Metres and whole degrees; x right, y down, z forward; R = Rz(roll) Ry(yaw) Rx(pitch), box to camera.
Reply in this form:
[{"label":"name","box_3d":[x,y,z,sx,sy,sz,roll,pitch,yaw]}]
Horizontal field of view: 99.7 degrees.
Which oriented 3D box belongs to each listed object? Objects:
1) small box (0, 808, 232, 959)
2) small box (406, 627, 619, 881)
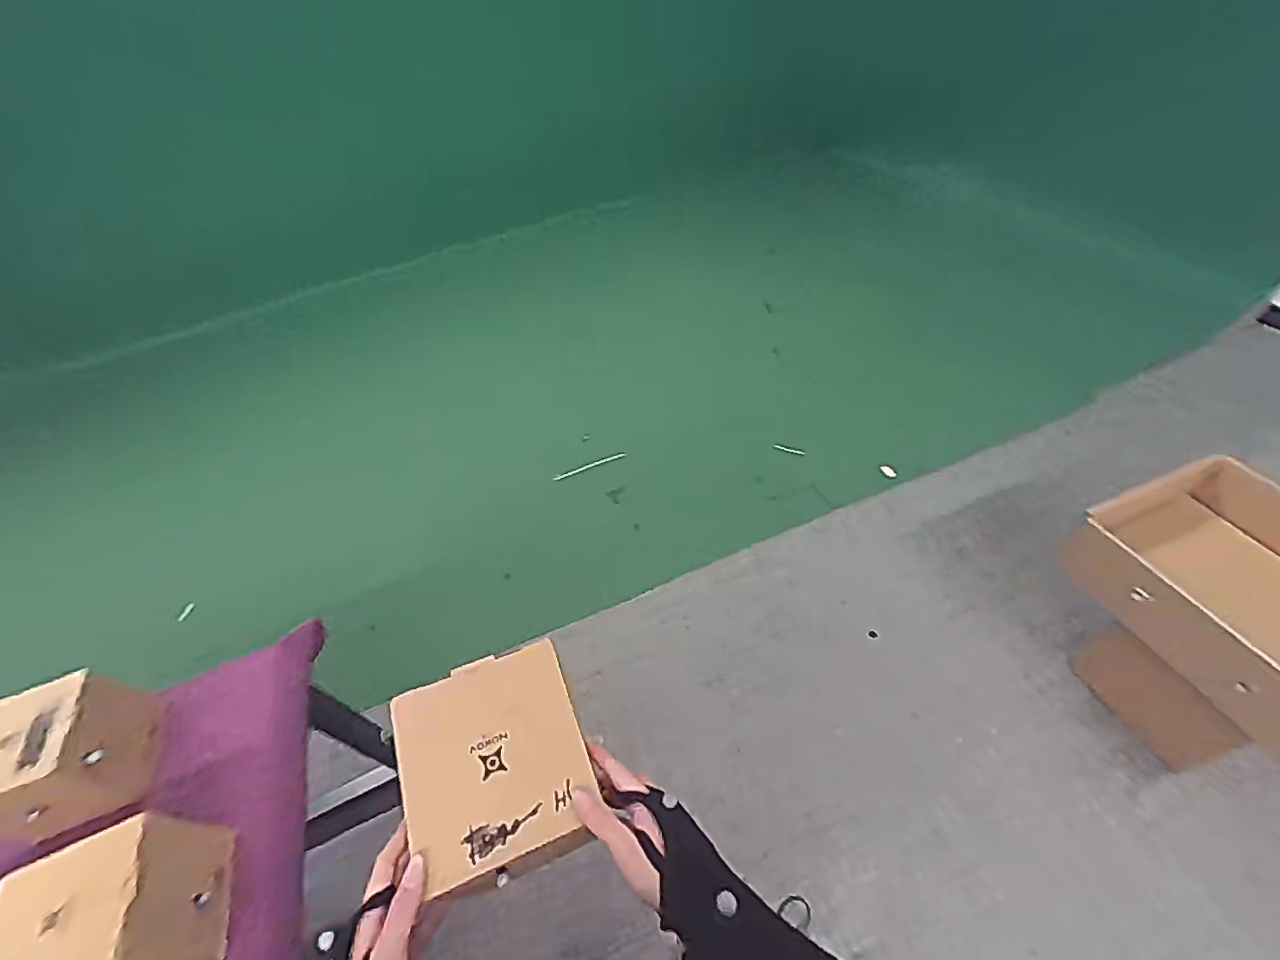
[{"label":"small box","box_3d":[-0.682,0.566,0.700,0.179,0.176,0.168,-23,49,-10]},{"label":"small box","box_3d":[-0.127,0.289,0.568,0.168,0.176,0.179,-18,55,-12]}]
